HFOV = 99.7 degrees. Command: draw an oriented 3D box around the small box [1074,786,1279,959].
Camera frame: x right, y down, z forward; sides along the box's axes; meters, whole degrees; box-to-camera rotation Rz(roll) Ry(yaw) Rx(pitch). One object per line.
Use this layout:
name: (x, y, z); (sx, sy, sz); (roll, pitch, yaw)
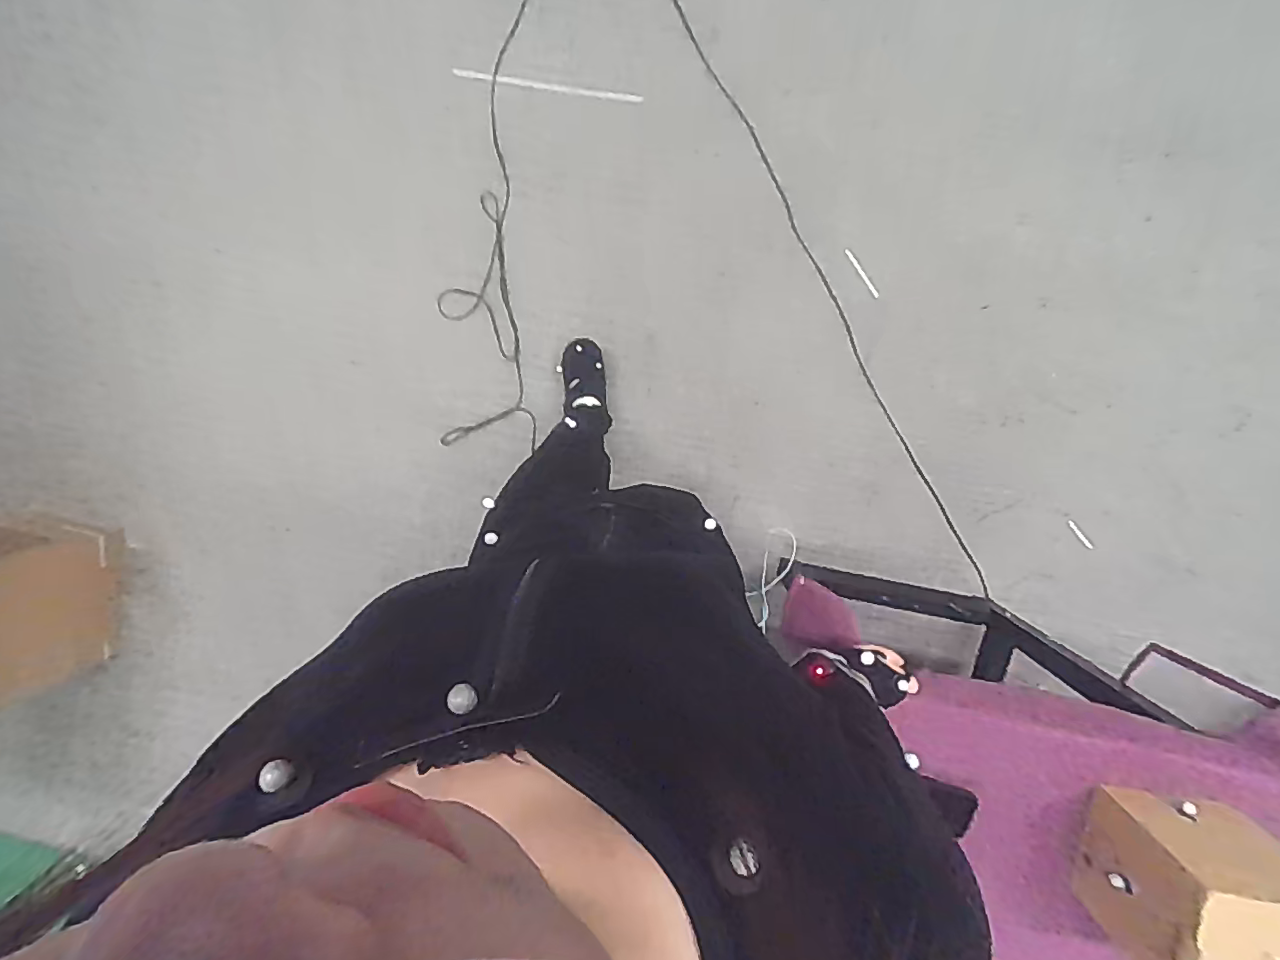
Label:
small box: (0.698, 0.518, 0.674); (0.179, 0.176, 0.168); (7, 100, 4)
